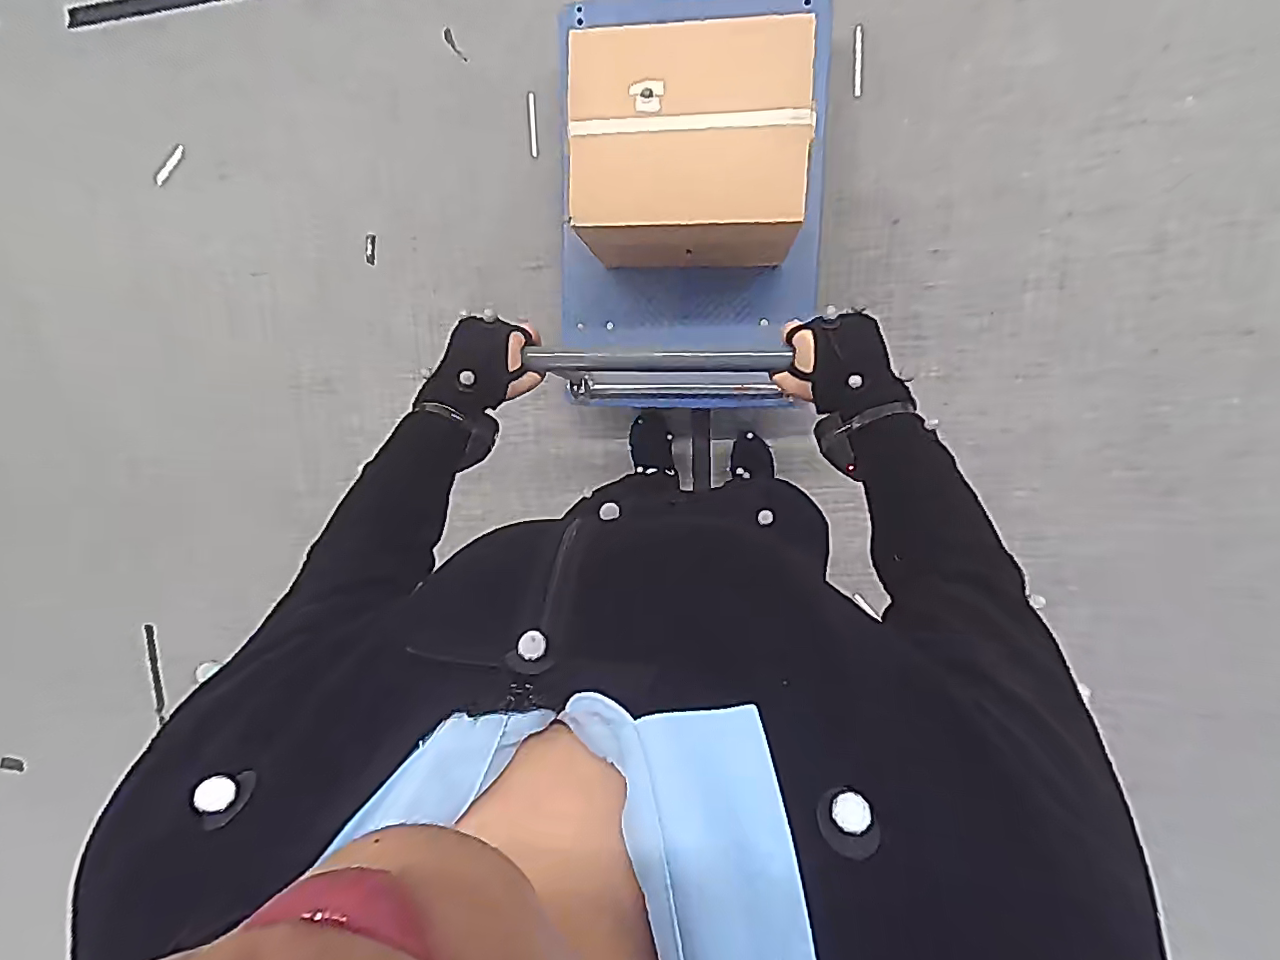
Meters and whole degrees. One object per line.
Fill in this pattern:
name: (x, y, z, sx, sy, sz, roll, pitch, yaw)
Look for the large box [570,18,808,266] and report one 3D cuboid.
large box: (0.099, -0.618, 1.064, 0.408, 0.320, 0.320, 2, 98, 8)
